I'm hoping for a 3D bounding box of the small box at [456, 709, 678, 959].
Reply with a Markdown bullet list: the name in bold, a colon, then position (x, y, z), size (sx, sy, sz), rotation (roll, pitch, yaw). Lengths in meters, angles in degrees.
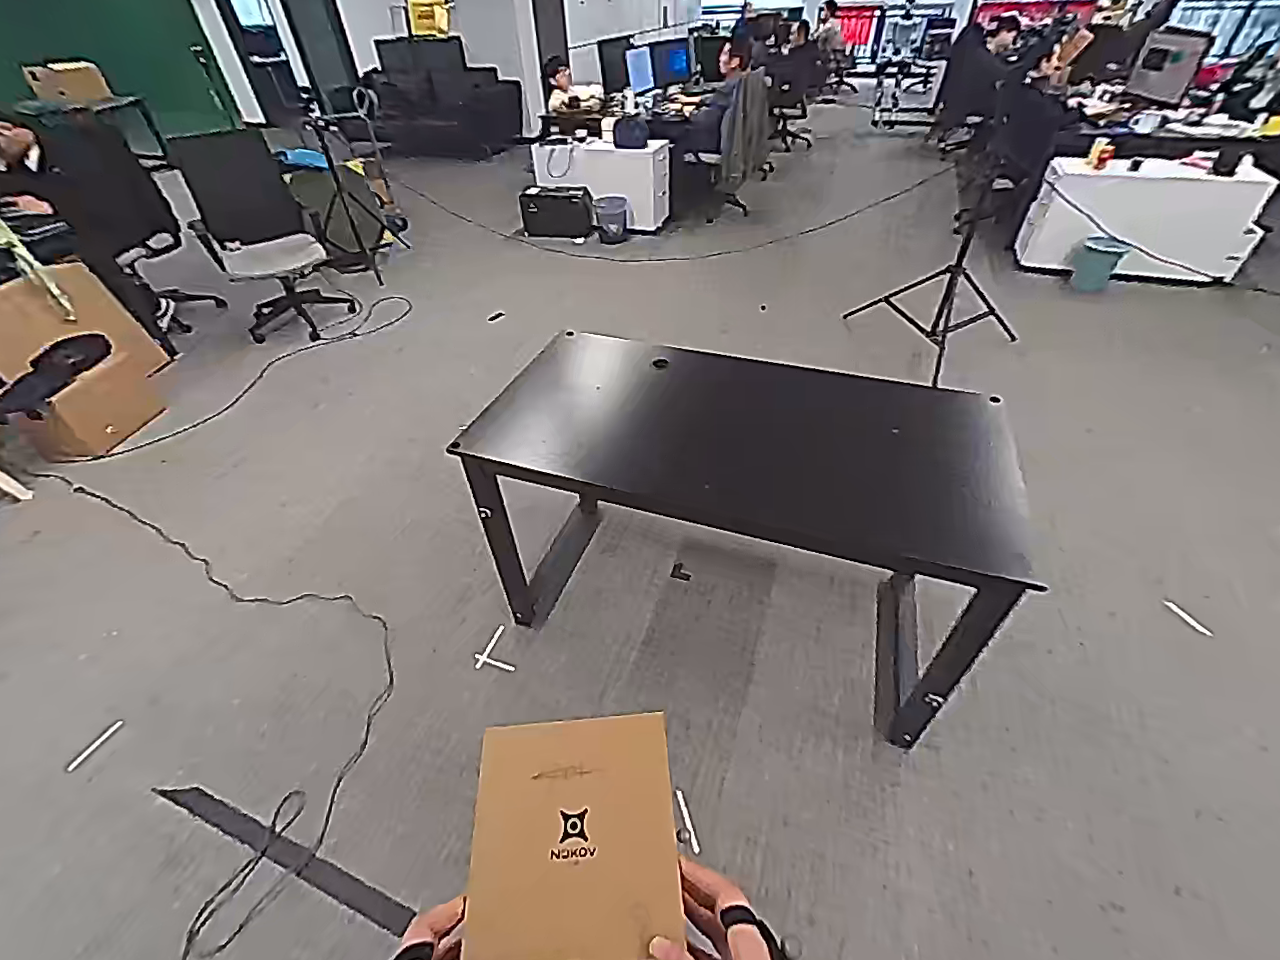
- **small box**: position (-0.055, 0.336, 0.500), size (0.168, 0.176, 0.179), rotation (-5, 47, -2)
